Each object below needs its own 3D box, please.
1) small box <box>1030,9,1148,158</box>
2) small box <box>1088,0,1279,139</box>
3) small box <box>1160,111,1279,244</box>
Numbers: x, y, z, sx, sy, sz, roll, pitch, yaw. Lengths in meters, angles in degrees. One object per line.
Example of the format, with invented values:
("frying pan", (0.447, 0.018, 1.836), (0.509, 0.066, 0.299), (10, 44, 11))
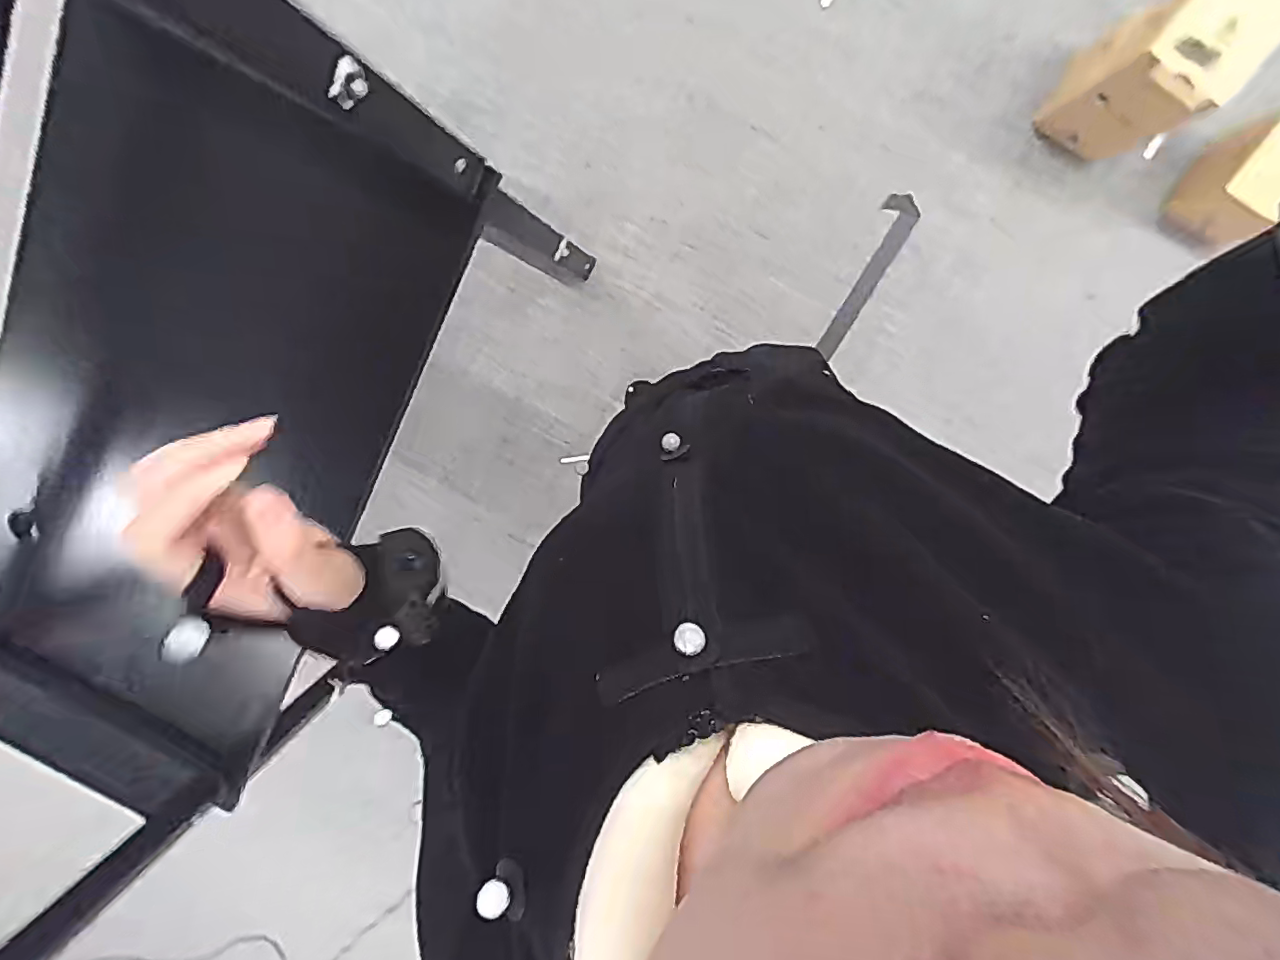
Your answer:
("small box", (0.979, -0.806, 1.126), (0.179, 0.176, 0.168), (30, 105, -3))
("small box", (0.964, -0.759, 0.968), (0.168, 0.176, 0.179), (35, 104, -4))
("small box", (1.279, -0.630, 1.139), (0.168, 0.176, 0.179), (30, 105, -2))
